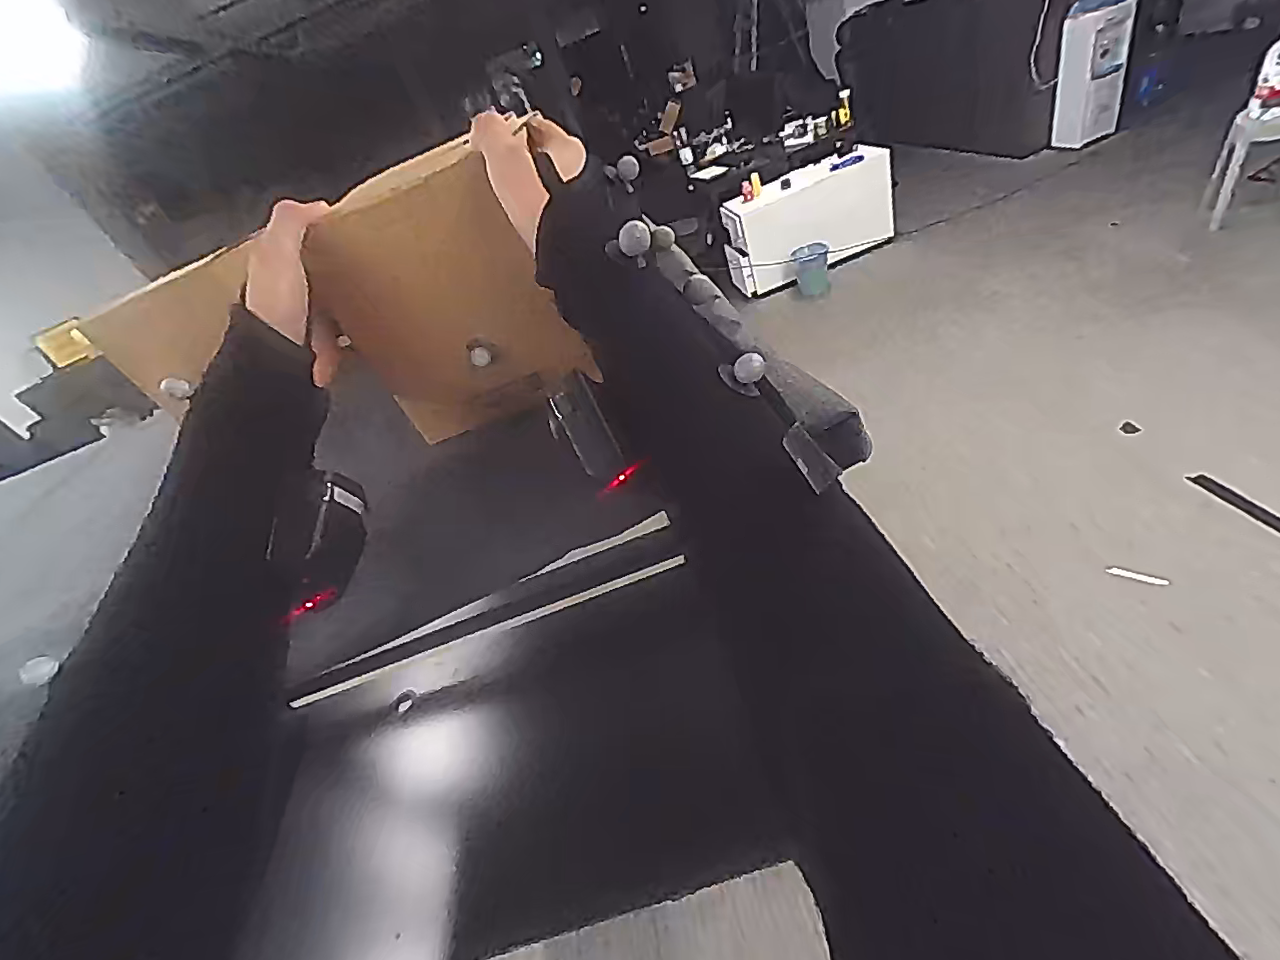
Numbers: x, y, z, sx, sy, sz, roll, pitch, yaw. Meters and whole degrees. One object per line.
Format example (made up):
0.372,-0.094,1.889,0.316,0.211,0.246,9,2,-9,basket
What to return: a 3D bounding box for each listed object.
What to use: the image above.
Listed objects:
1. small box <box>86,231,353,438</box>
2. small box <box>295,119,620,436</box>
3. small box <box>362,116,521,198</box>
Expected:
-0.497,-0.182,0.679,0.168,0.176,0.179,-22,37,5,small box
-0.121,-0.164,0.443,0.168,0.176,0.179,-18,37,10,small box
-0.179,-0.276,0.613,0.168,0.176,0.179,-18,39,9,small box
